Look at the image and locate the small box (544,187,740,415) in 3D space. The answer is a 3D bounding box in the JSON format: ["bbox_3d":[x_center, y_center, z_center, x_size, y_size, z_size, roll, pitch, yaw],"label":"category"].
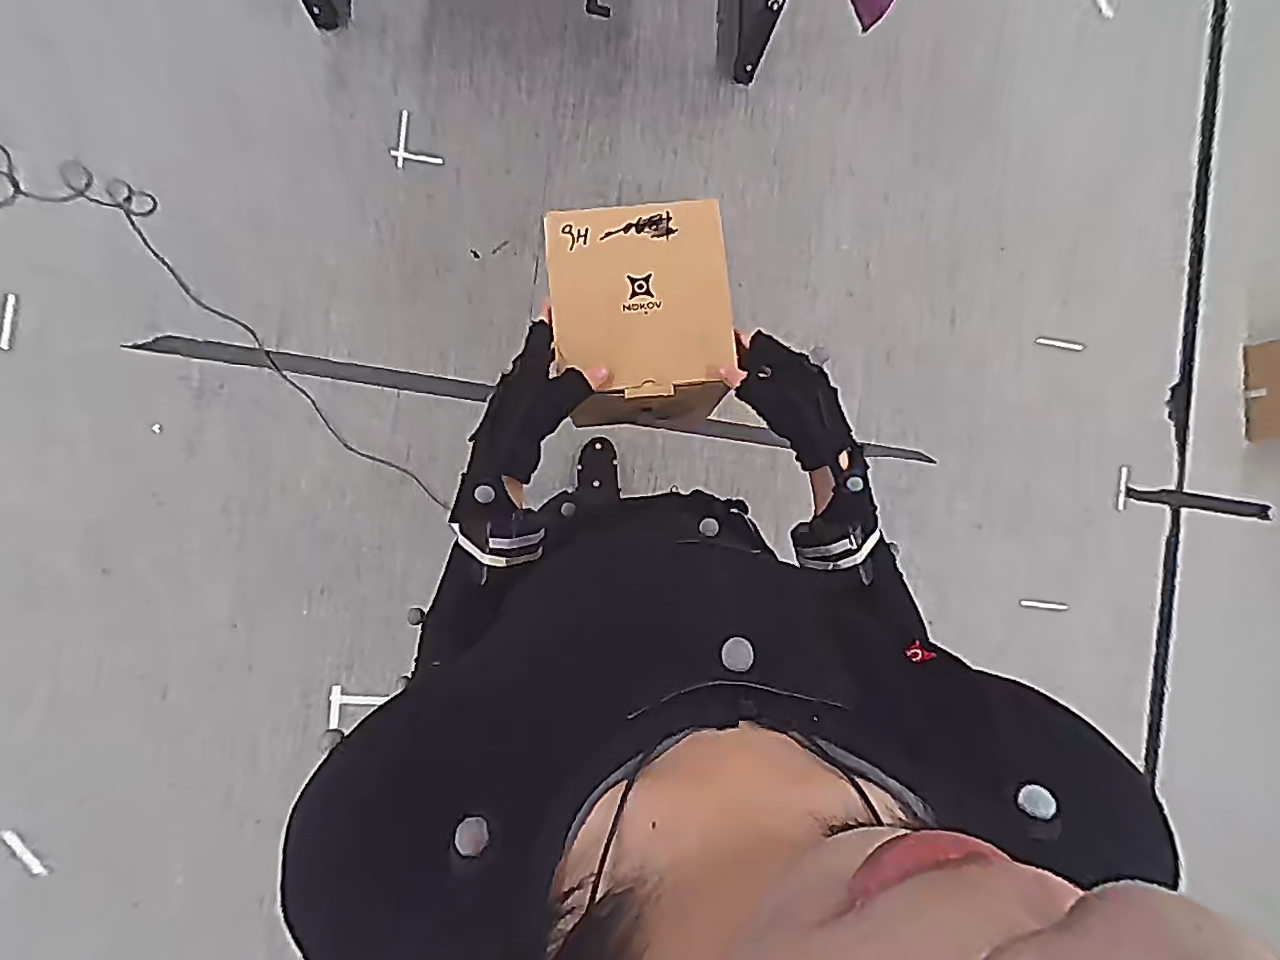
[{"bbox_3d":[0.001,-0.167,0.562,0.168,0.176,0.179,-6,87,-2],"label":"small box"}]
